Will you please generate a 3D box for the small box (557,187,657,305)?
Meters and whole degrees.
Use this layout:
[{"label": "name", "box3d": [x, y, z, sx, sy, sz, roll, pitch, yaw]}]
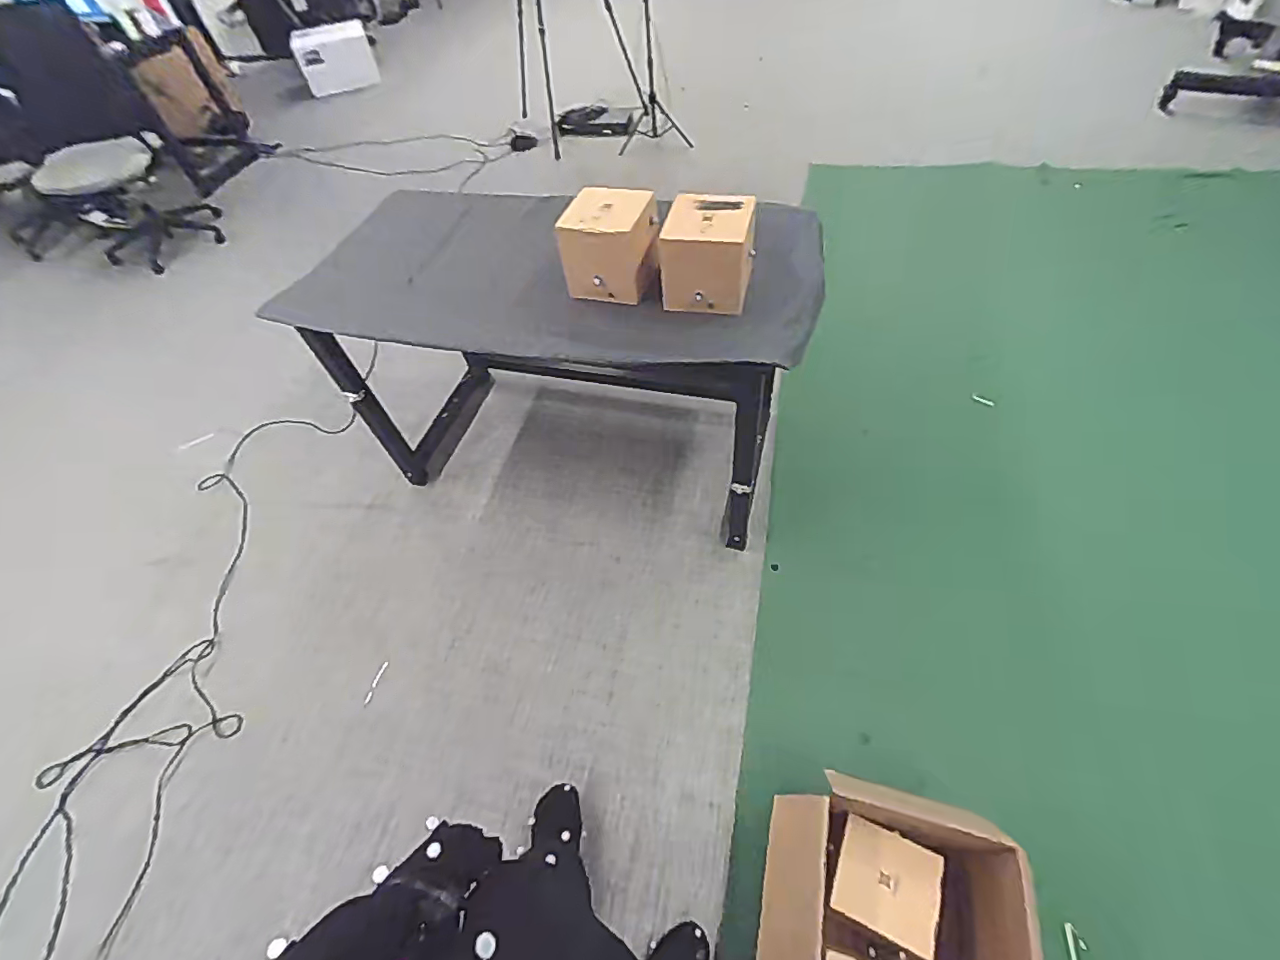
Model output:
[{"label": "small box", "box3d": [-0.063, -0.516, 1.193, 0.168, 0.176, 0.179, 12, 56, 15]}]
